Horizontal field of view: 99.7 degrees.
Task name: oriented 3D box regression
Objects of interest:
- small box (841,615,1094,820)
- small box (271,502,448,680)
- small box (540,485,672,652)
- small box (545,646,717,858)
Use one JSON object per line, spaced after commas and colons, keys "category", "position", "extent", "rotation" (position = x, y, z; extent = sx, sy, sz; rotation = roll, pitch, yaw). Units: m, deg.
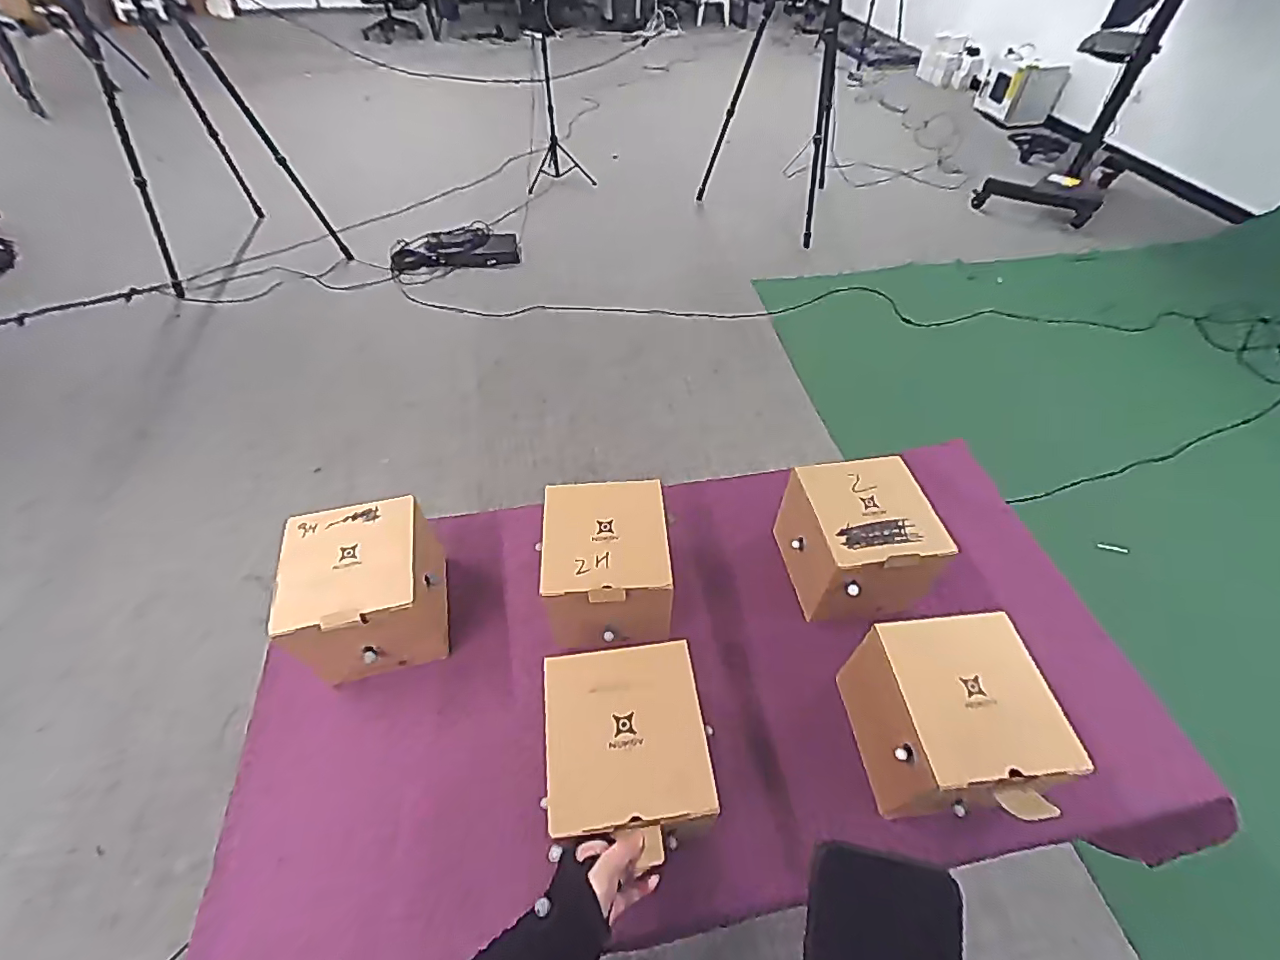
{"category": "small box", "position": [0.362, 0.284, 0.645], "extent": [0.168, 0.176, 0.179], "rotation": [-5, 50, -3]}
{"category": "small box", "position": [-0.371, 0.160, 0.750], "extent": [0.168, 0.176, 0.179], "rotation": [-11, 52, -10]}
{"category": "small box", "position": [-0.047, 0.127, 0.777], "extent": [0.168, 0.176, 0.179], "rotation": [-3, 50, -2]}
{"category": "small box", "position": [-0.015, 0.316, 0.620], "extent": [0.168, 0.176, 0.179], "rotation": [-6, 49, -5]}
